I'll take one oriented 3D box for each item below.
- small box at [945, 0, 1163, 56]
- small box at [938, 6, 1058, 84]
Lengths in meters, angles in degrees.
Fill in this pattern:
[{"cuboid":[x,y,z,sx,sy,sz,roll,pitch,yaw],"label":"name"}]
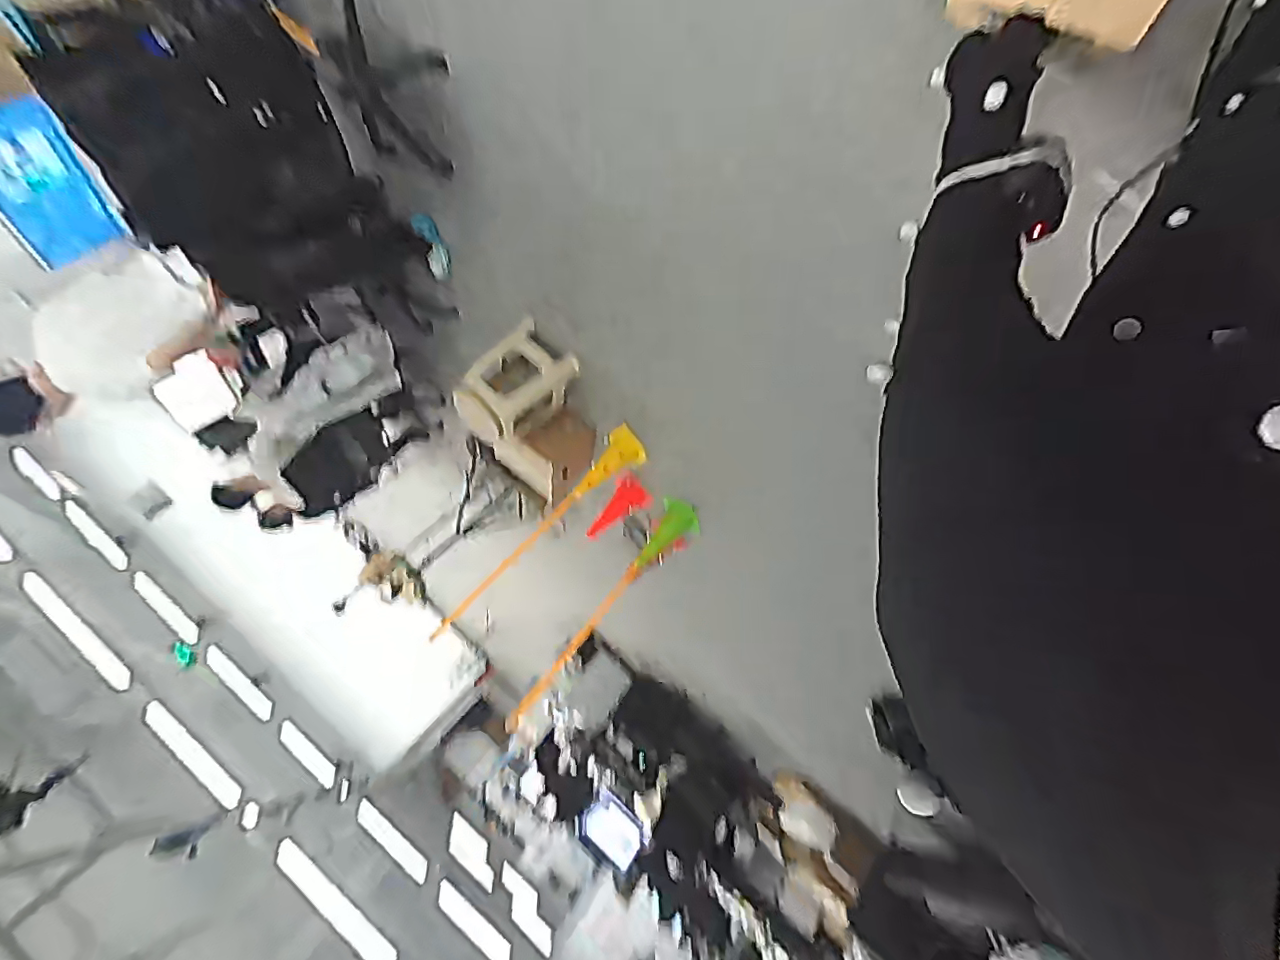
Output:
[{"cuboid":[0.408,-0.500,0.474,0.168,0.176,0.179,31,135,15],"label":"small box"},{"cuboid":[0.621,-0.776,0.847,0.179,0.176,0.168,42,149,4],"label":"small box"}]
